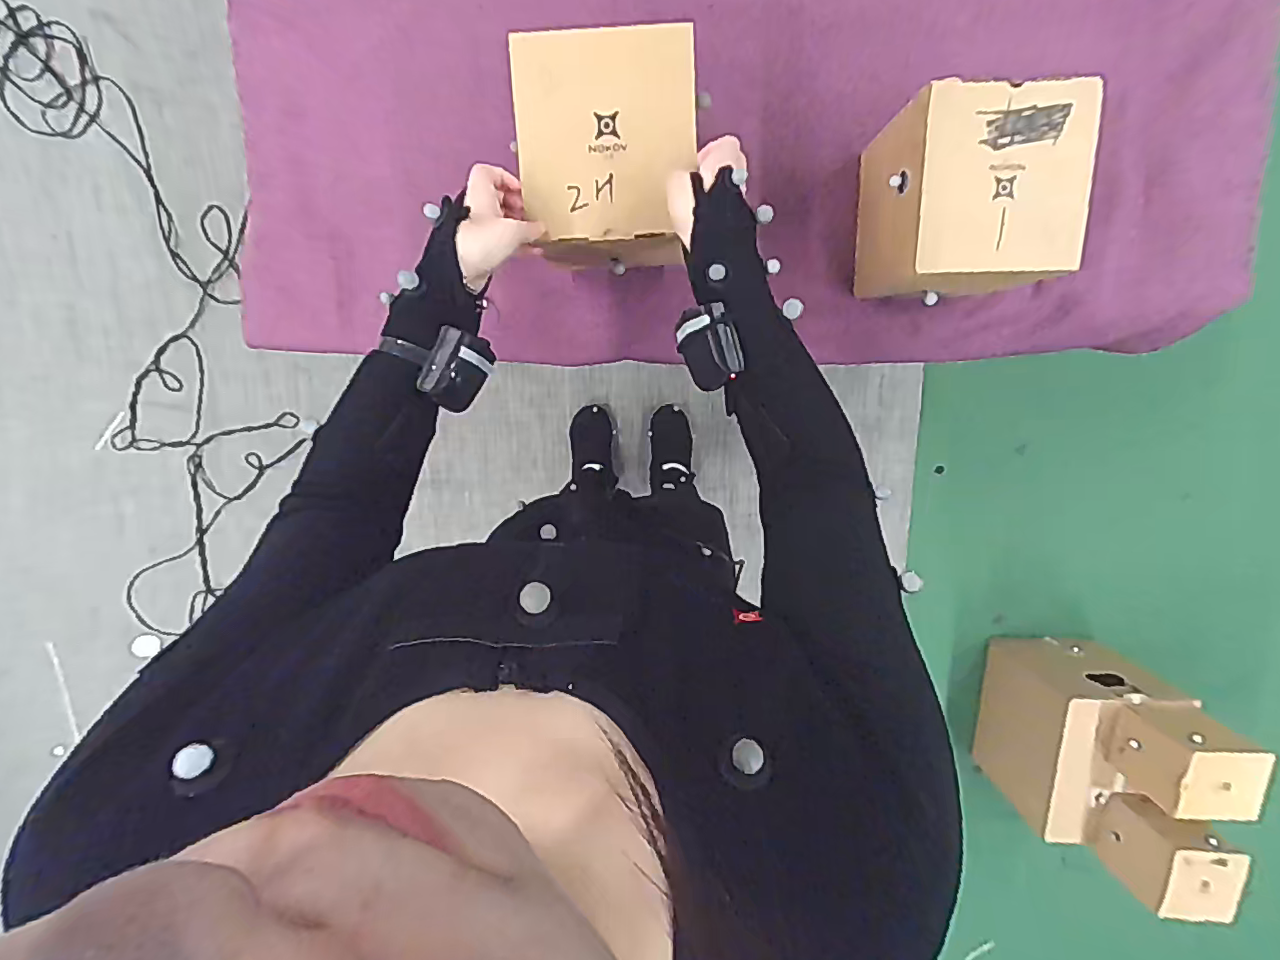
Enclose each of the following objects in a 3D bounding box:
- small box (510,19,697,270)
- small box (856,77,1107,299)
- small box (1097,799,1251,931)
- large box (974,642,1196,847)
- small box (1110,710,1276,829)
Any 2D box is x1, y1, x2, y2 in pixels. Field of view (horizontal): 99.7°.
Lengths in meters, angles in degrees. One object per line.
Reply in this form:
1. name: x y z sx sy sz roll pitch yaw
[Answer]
1. small box: -0.030 -0.328 0.563 0.168 0.176 0.179 -2 102 2
2. small box: 0.353 -0.303 0.596 0.168 0.176 0.179 0 101 1
3. small box: 1.209 0.877 1.241 0.168 0.176 0.179 6 101 -1
4. large box: 1.158 0.689 1.454 0.320 0.320 0.408 1 102 1
5. small box: 1.207 0.632 1.195 0.179 0.176 0.168 1 102 0
